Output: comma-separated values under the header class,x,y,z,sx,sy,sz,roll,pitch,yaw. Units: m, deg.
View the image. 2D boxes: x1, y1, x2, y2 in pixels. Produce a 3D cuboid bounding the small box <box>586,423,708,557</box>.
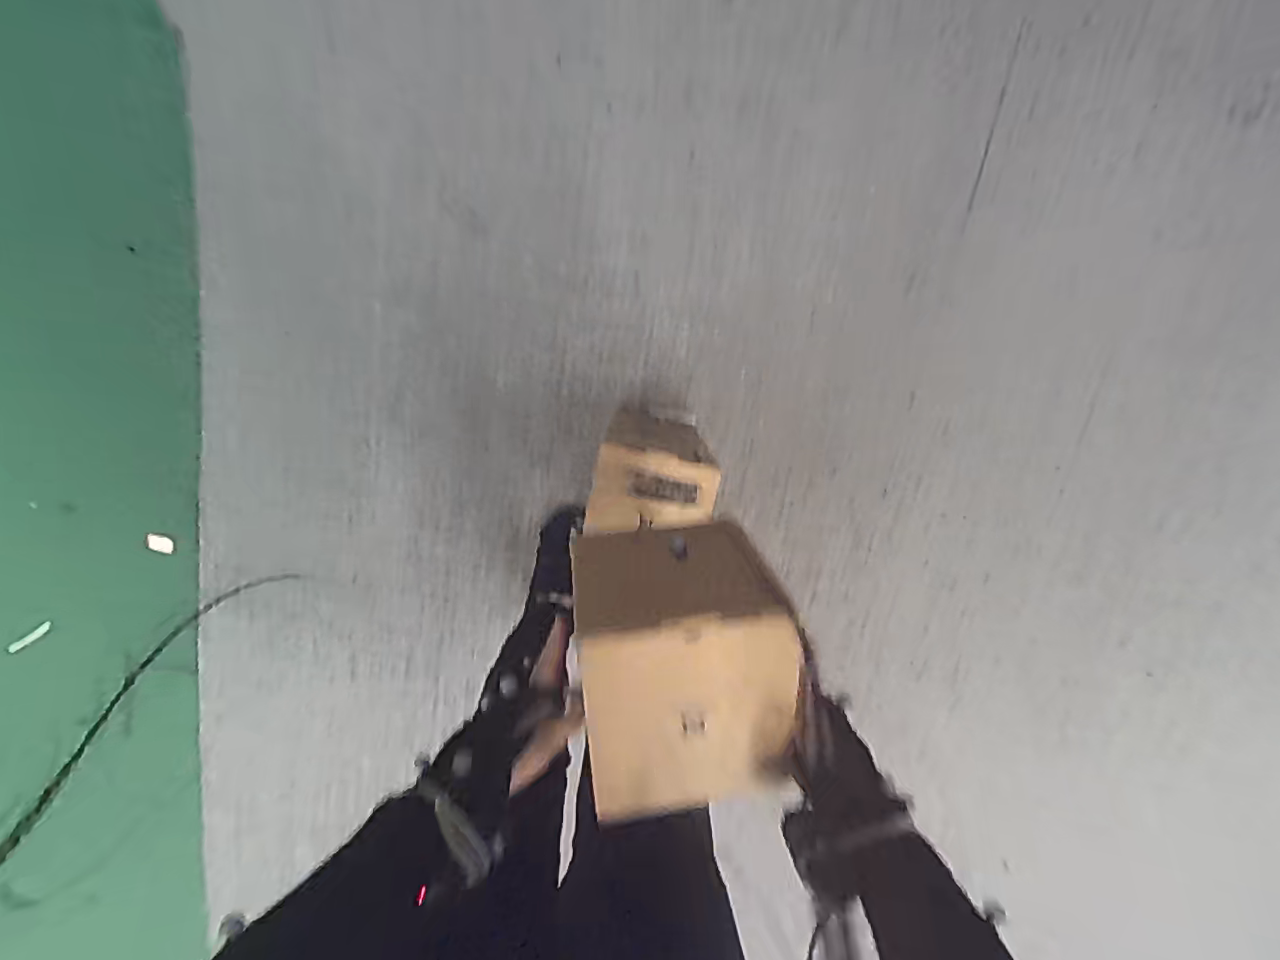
class,x,y,z,sx,sy,sz,roll,pitch,yaw
small box,0.012,0.010,0.970,0.168,0.176,0.179,16,102,-4
